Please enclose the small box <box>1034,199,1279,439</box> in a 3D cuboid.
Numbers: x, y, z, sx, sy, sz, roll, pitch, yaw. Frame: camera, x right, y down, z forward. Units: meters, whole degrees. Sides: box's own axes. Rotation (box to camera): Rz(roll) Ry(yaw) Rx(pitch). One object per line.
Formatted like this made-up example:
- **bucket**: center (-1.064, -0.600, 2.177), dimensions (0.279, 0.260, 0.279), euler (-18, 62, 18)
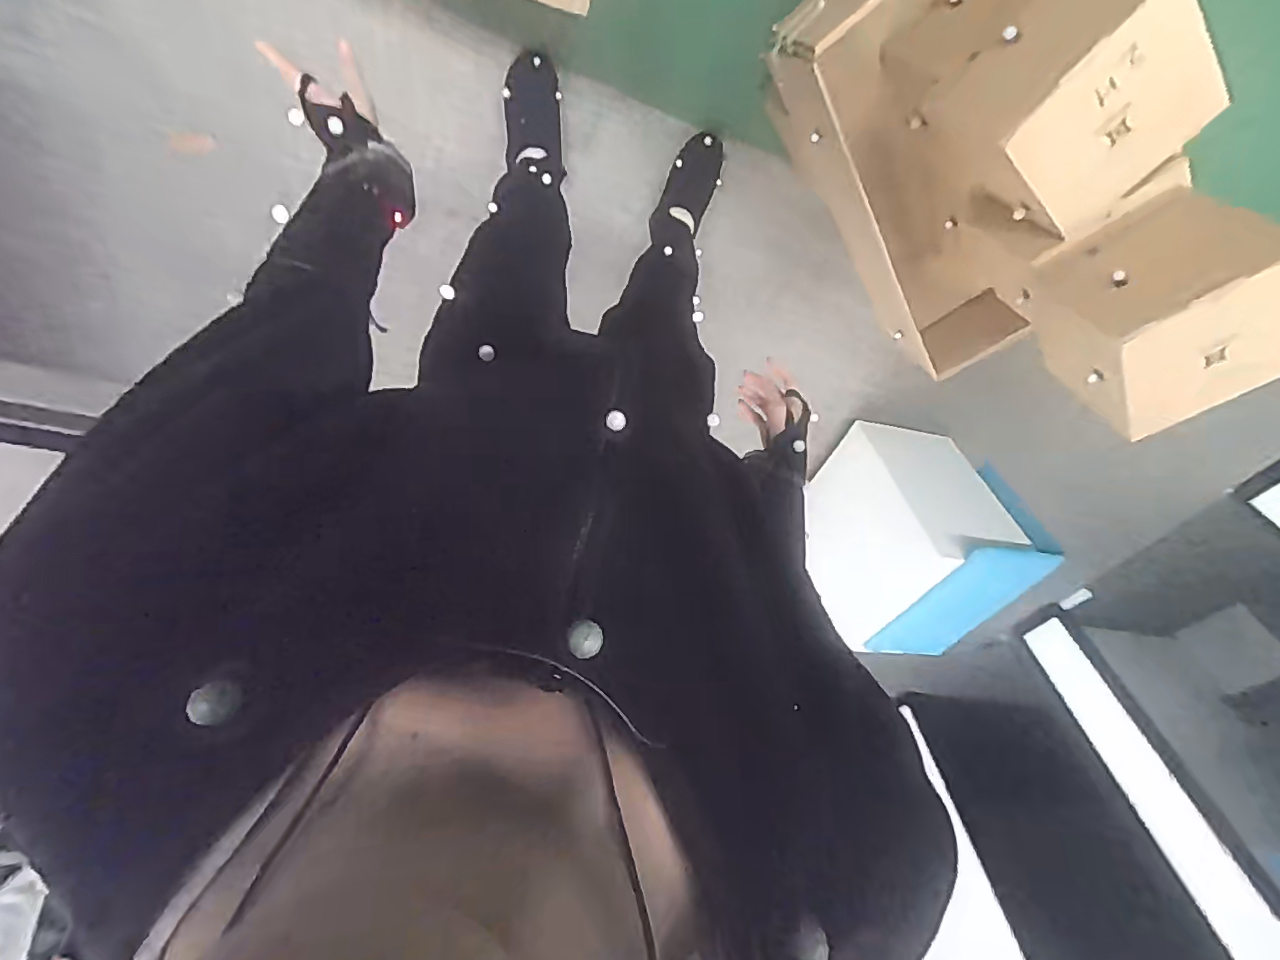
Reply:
- **small box**: center (0.587, -0.187, 0.613), dimensions (0.168, 0.176, 0.179), euler (-31, 129, 22)
